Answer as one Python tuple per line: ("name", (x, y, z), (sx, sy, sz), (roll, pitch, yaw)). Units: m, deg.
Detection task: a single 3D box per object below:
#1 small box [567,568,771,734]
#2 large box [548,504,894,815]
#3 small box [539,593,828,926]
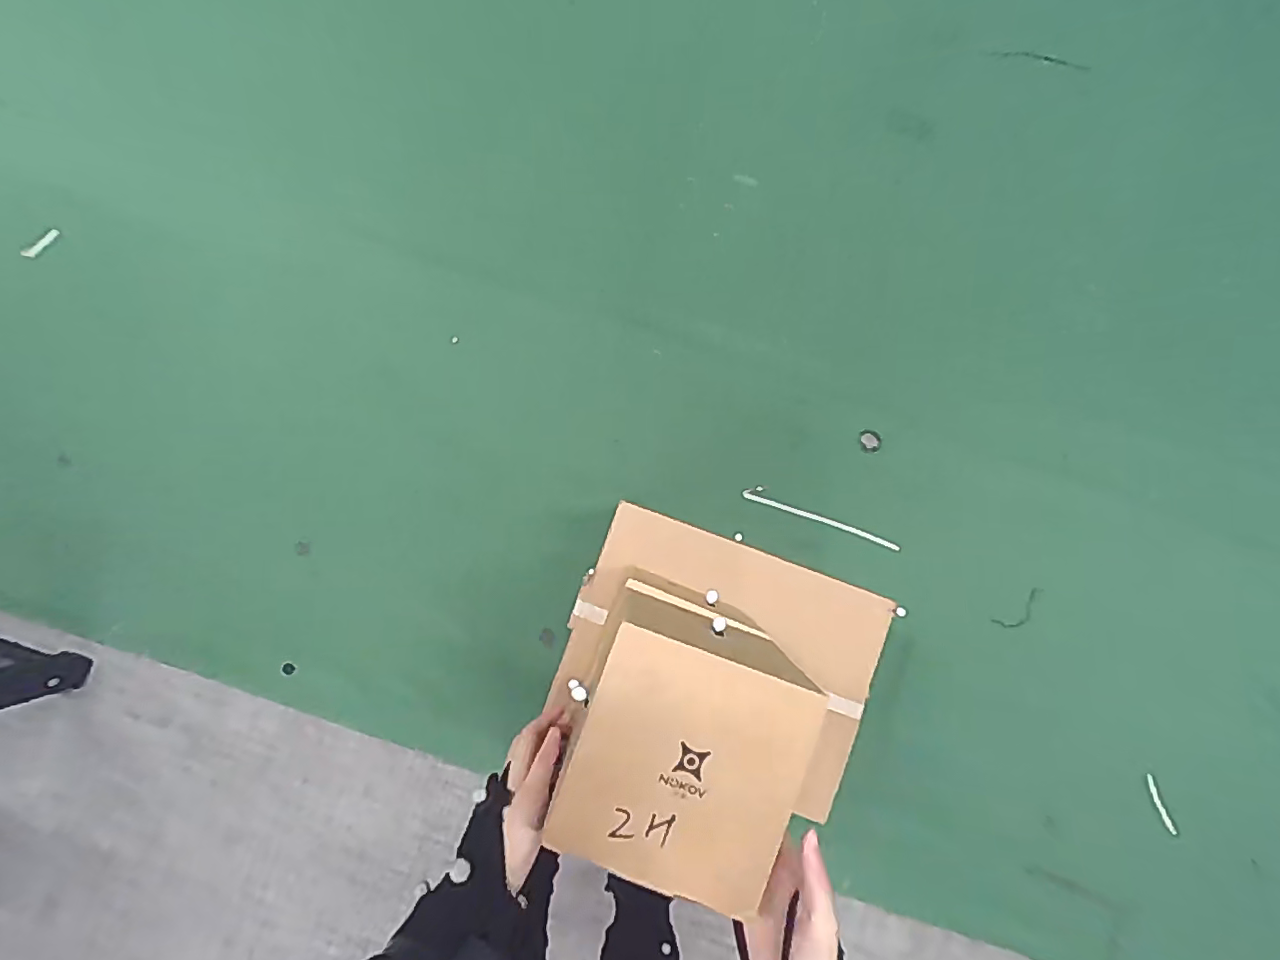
("small box", (0.028, 0.214, 0.631), (0.168, 0.176, 0.179), (22, 87, 1))
("large box", (0.107, 0.247, 0.871), (0.408, 0.320, 0.320), (20, 87, 0))
("small box", (0.031, 0.211, 0.465), (0.168, 0.176, 0.179), (21, 86, 1))
